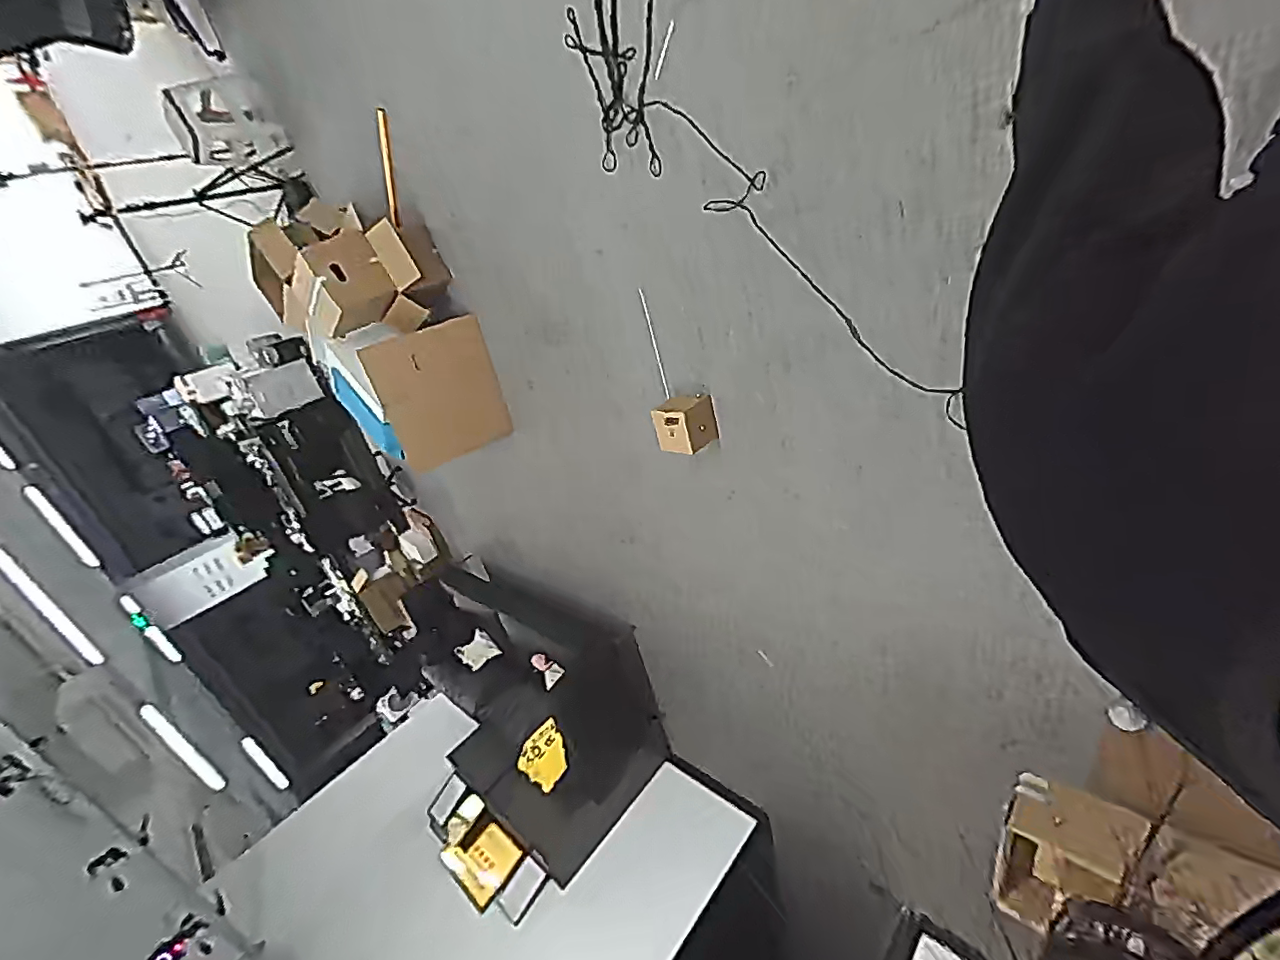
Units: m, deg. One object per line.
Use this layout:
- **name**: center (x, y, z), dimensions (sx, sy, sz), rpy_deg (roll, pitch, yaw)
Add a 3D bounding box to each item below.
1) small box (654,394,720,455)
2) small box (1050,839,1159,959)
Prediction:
- **small box**: center (0.182, -0.217, 2.062), dimensions (0.168, 0.176, 0.179), rpy_deg (11, 128, 44)
- **small box**: center (1.110, 1.017, 1.291), dimensions (0.168, 0.176, 0.179), rpy_deg (13, 129, 40)
